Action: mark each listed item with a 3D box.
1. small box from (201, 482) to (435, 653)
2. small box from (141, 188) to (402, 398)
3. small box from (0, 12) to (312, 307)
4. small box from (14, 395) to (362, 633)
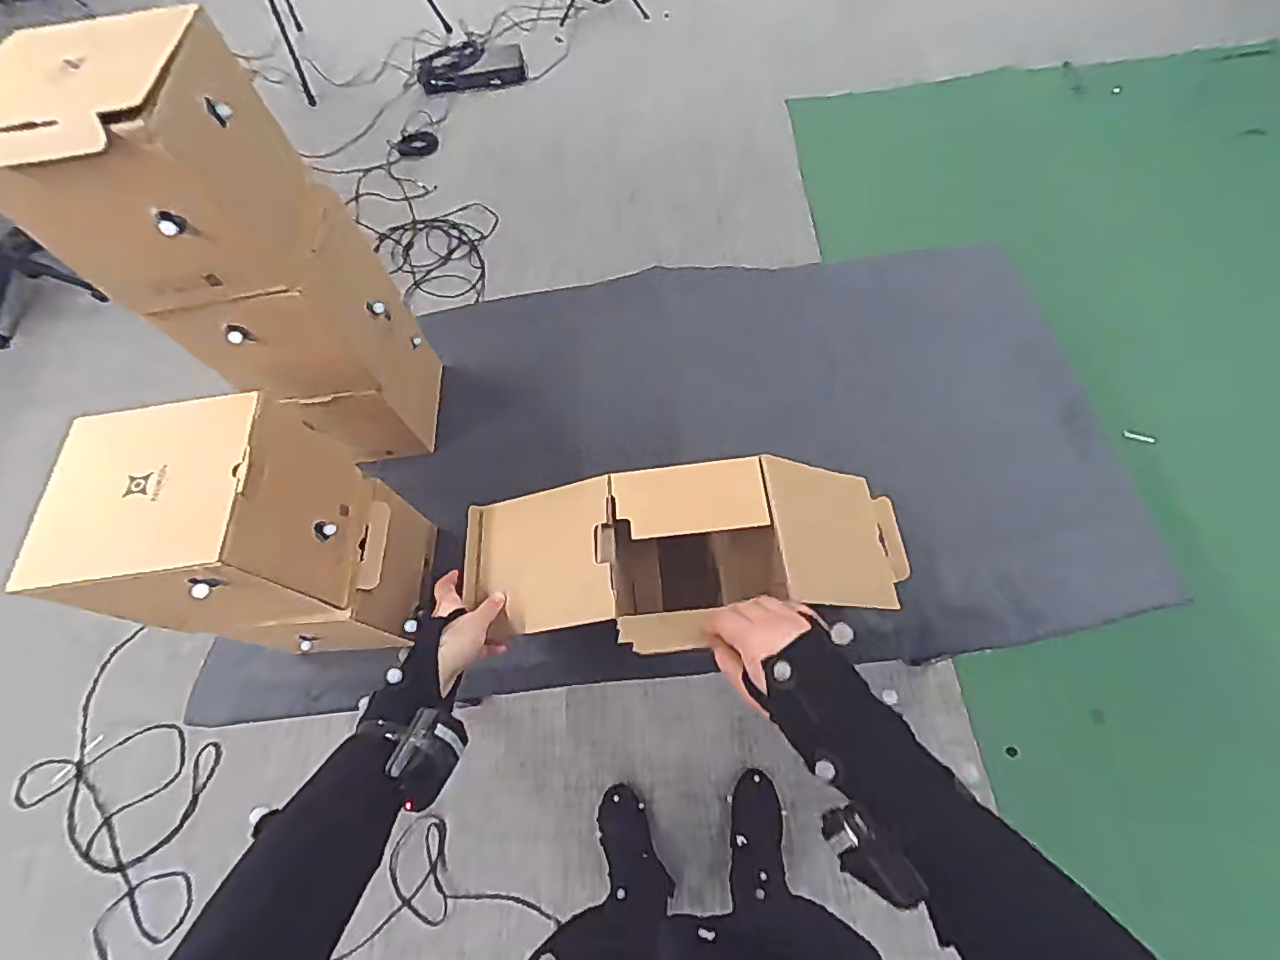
[{"bbox_3d":[-0.375,0.115,0.669,0.179,0.176,0.168,-5,64,4],"label":"small box"},{"bbox_3d":[-0.418,-0.212,0.649,0.179,0.176,0.168,-6,65,3],"label":"small box"},{"bbox_3d":[-0.440,-0.282,0.504,0.168,0.176,0.179,-9,63,0],"label":"small box"},{"bbox_3d":[-0.405,0.043,0.526,0.179,0.176,0.168,-9,63,1],"label":"small box"}]
